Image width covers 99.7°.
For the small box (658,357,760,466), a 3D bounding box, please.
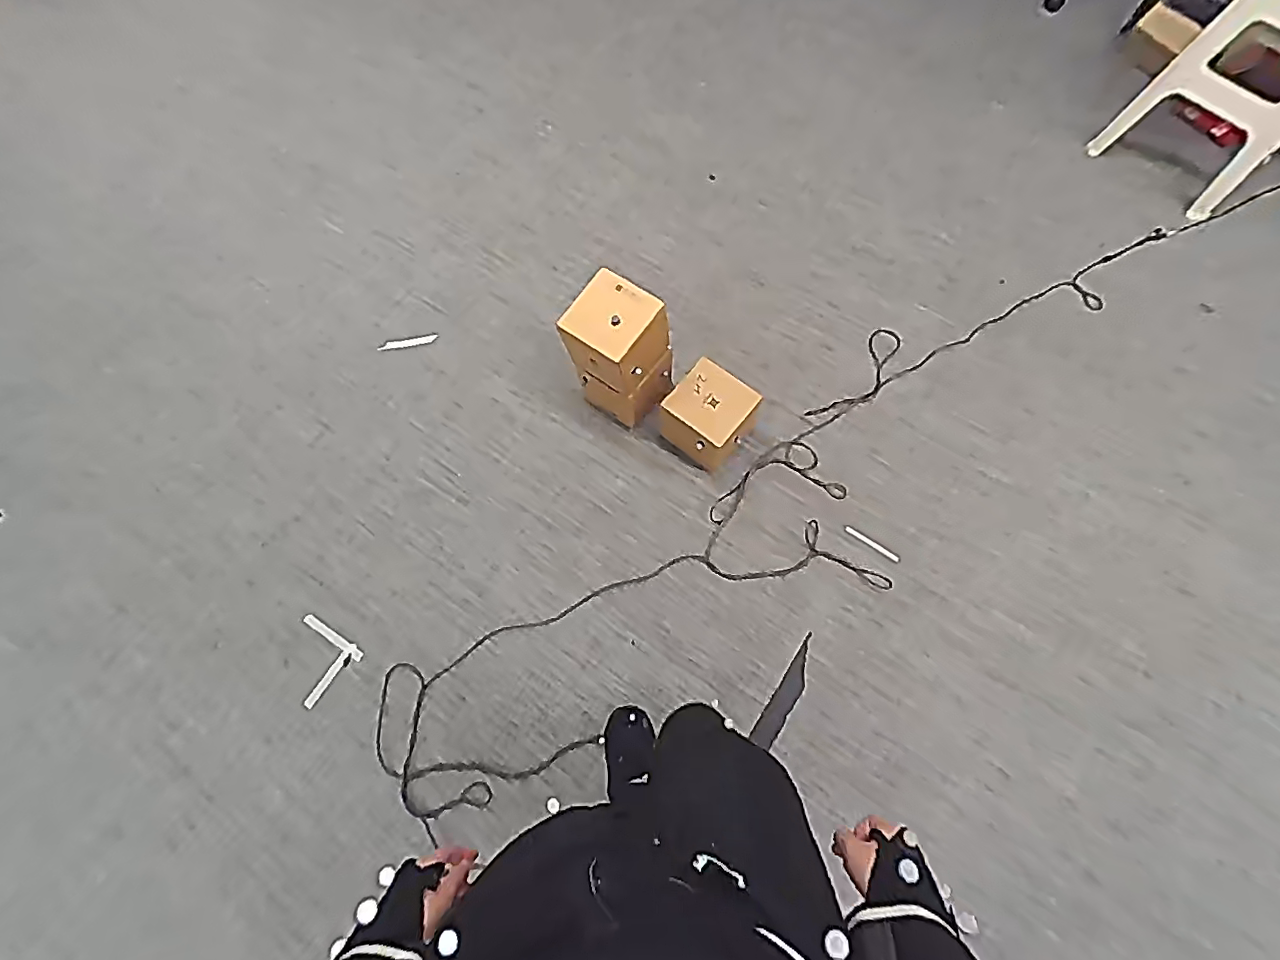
[{"bbox_3d":[0.162,-0.155,1.309,0.179,0.176,0.168,38,75,14],"label":"small box"}]
